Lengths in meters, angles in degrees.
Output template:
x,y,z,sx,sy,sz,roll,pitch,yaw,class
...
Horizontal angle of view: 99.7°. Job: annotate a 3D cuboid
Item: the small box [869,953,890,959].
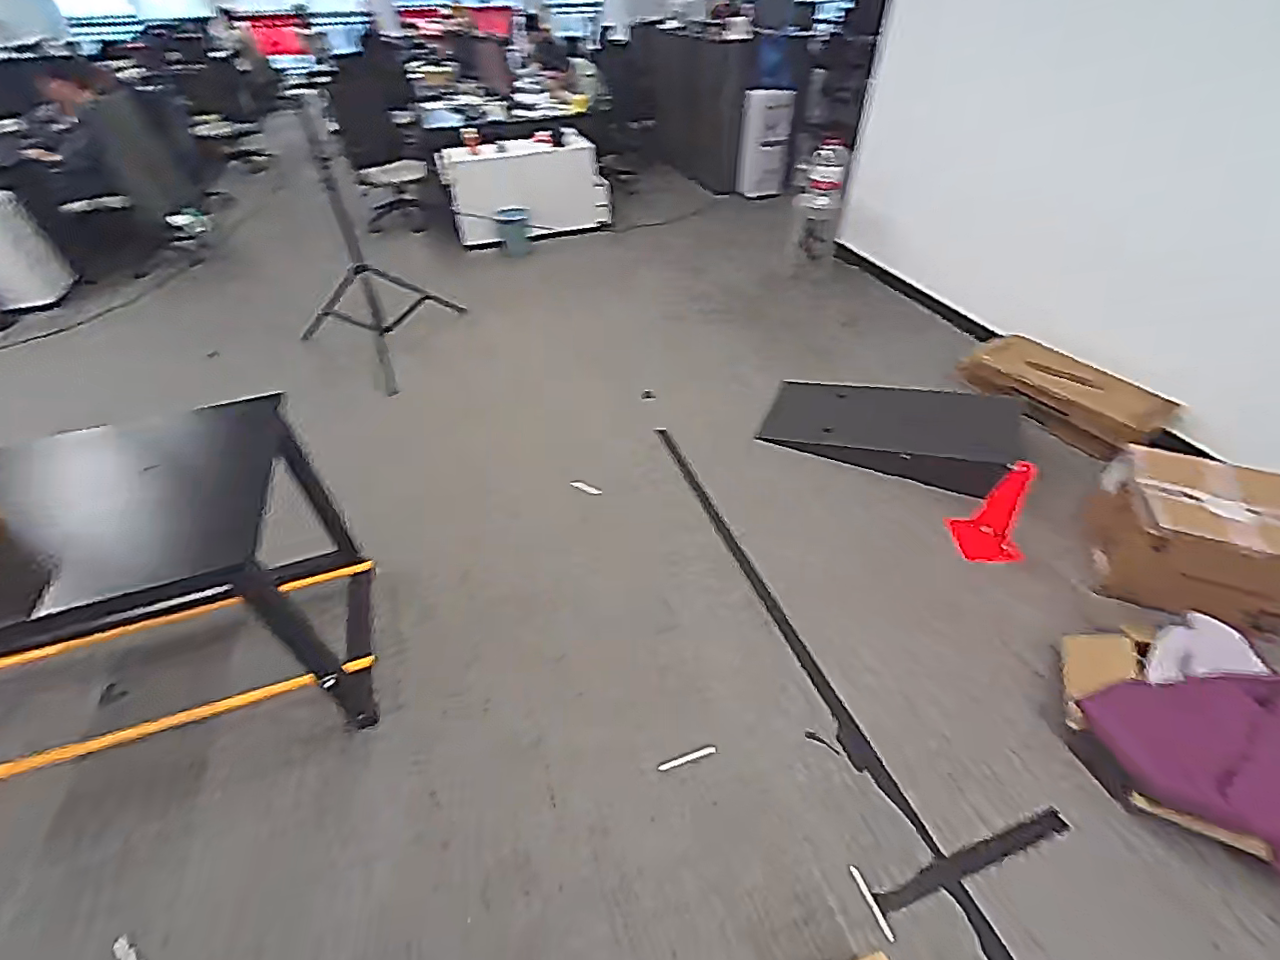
x,y,z,sx,sy,sz,roll,pitch,yaw,class
0.407,1.015,0.993,0.179,0.176,0.168,-14,45,-11,small box
